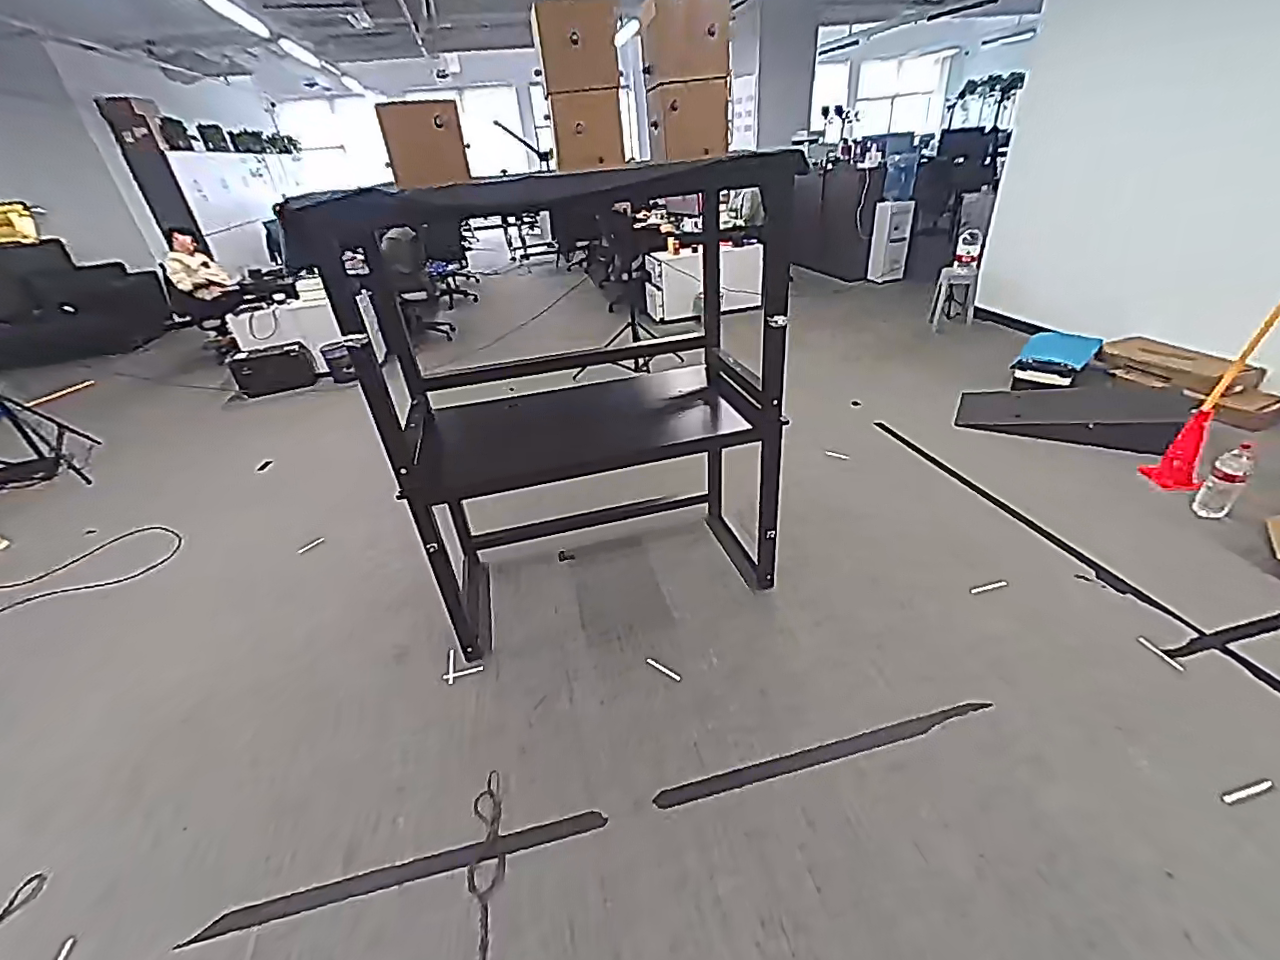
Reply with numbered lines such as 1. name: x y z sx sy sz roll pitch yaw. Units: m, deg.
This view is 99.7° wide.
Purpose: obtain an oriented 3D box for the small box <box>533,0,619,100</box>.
1. small box: -0.149 -1.002 1.266 0.179 0.176 0.168 -11 30 -6

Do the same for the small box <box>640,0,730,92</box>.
1. small box: 0.107 -1.046 1.295 0.179 0.176 0.168 -12 30 -8

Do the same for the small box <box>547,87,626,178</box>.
1. small box: -0.135 -0.866 1.358 0.168 0.176 0.179 -10 30 -7

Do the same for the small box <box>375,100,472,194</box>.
1. small box: -0.500 -0.781 1.275 0.179 0.176 0.168 -14 31 -13
